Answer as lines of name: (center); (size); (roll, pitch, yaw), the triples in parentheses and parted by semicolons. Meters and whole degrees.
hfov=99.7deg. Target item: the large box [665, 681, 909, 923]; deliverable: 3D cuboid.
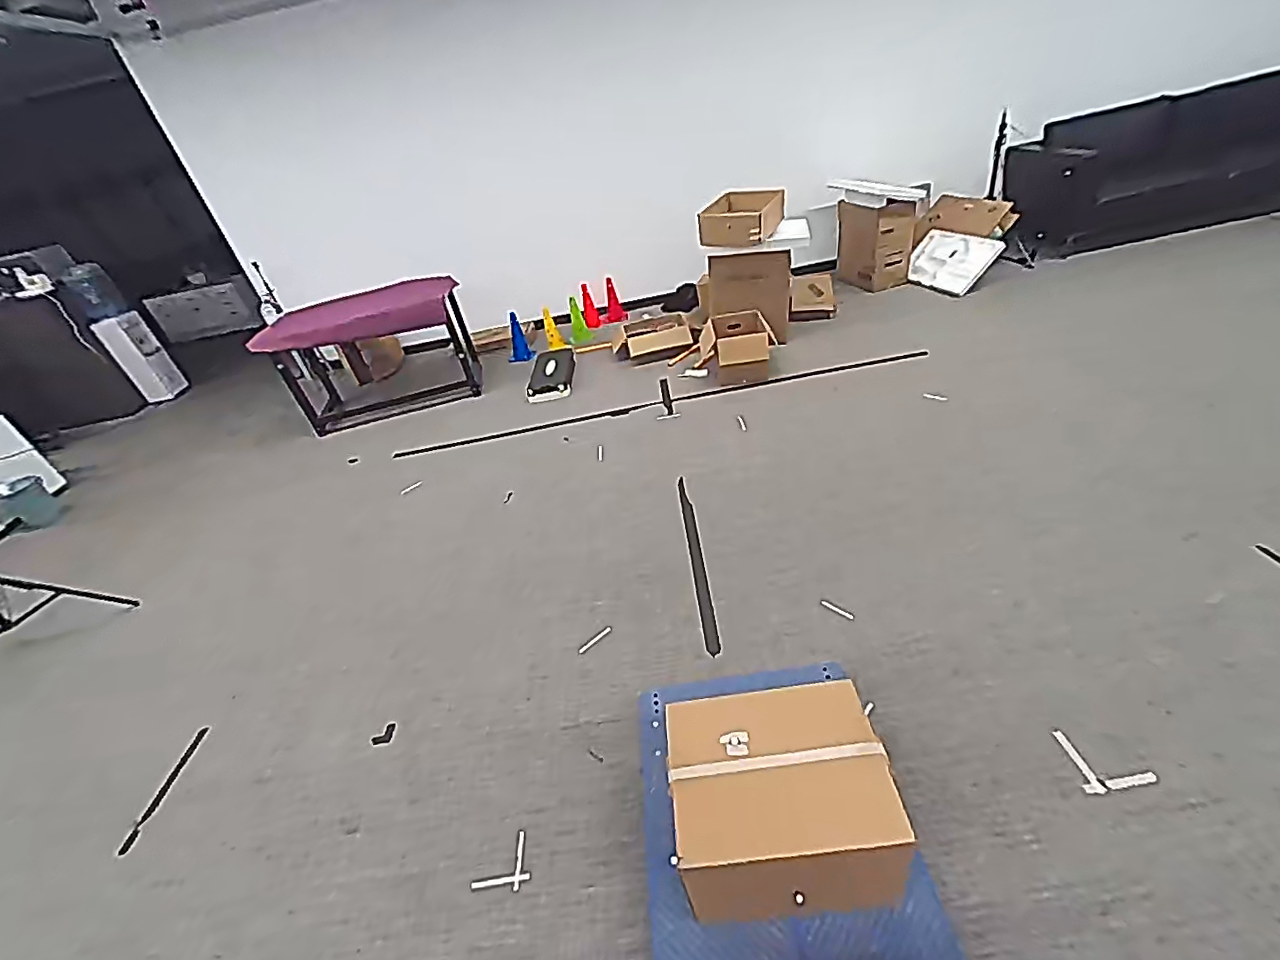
large box: (0.286, 0.673, 1.134); (0.408, 0.320, 0.320); (-11, 34, 5)
